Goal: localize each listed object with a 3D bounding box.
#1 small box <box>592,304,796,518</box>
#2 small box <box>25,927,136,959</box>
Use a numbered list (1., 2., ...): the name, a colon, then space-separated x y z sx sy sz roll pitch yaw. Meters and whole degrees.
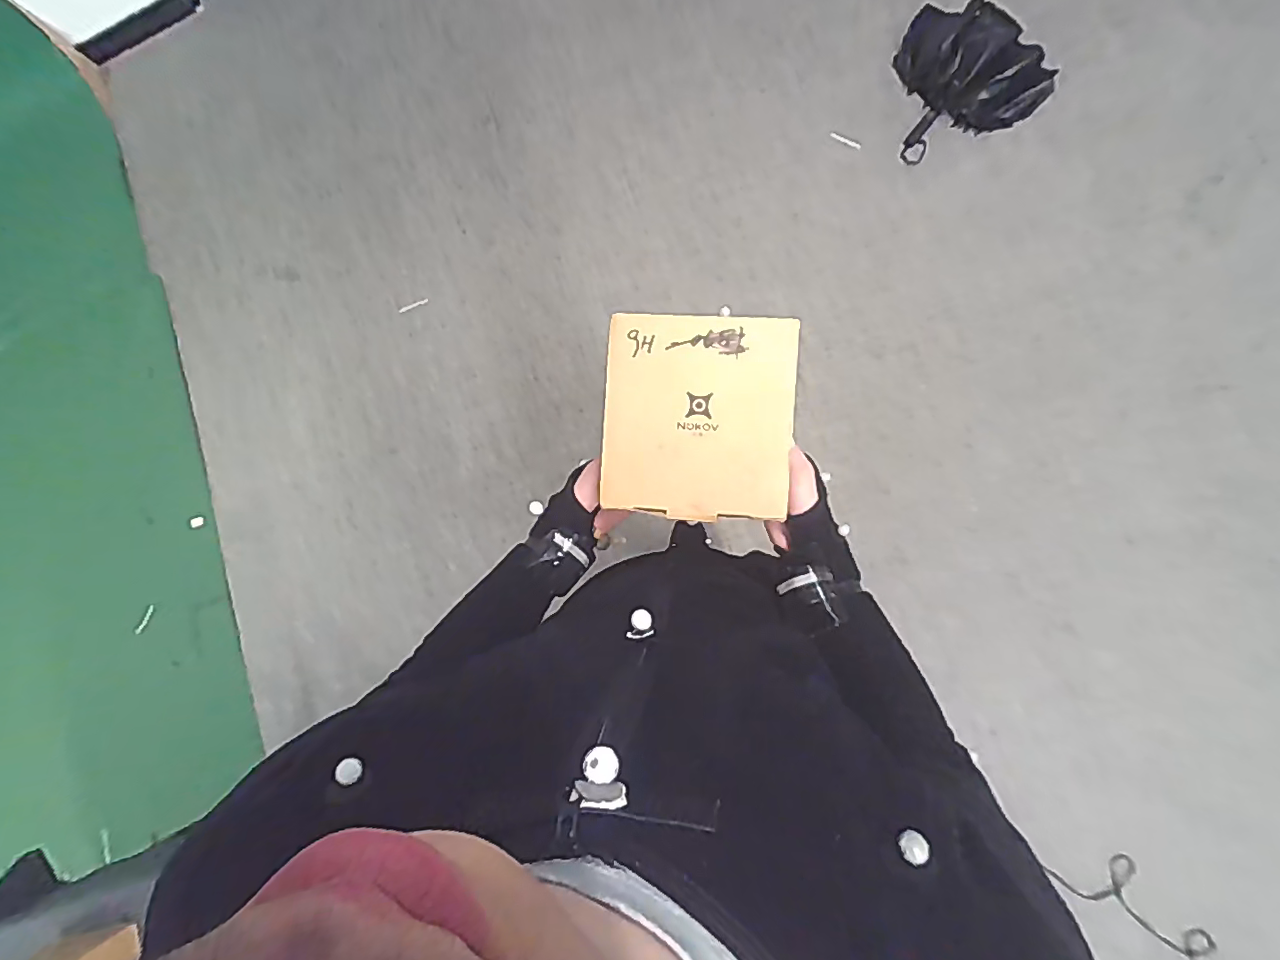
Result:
1. small box: 0.052 -0.062 0.541 0.168 0.176 0.179 4 91 5
2. small box: -0.939 0.850 0.847 0.179 0.176 0.168 -18 81 8
